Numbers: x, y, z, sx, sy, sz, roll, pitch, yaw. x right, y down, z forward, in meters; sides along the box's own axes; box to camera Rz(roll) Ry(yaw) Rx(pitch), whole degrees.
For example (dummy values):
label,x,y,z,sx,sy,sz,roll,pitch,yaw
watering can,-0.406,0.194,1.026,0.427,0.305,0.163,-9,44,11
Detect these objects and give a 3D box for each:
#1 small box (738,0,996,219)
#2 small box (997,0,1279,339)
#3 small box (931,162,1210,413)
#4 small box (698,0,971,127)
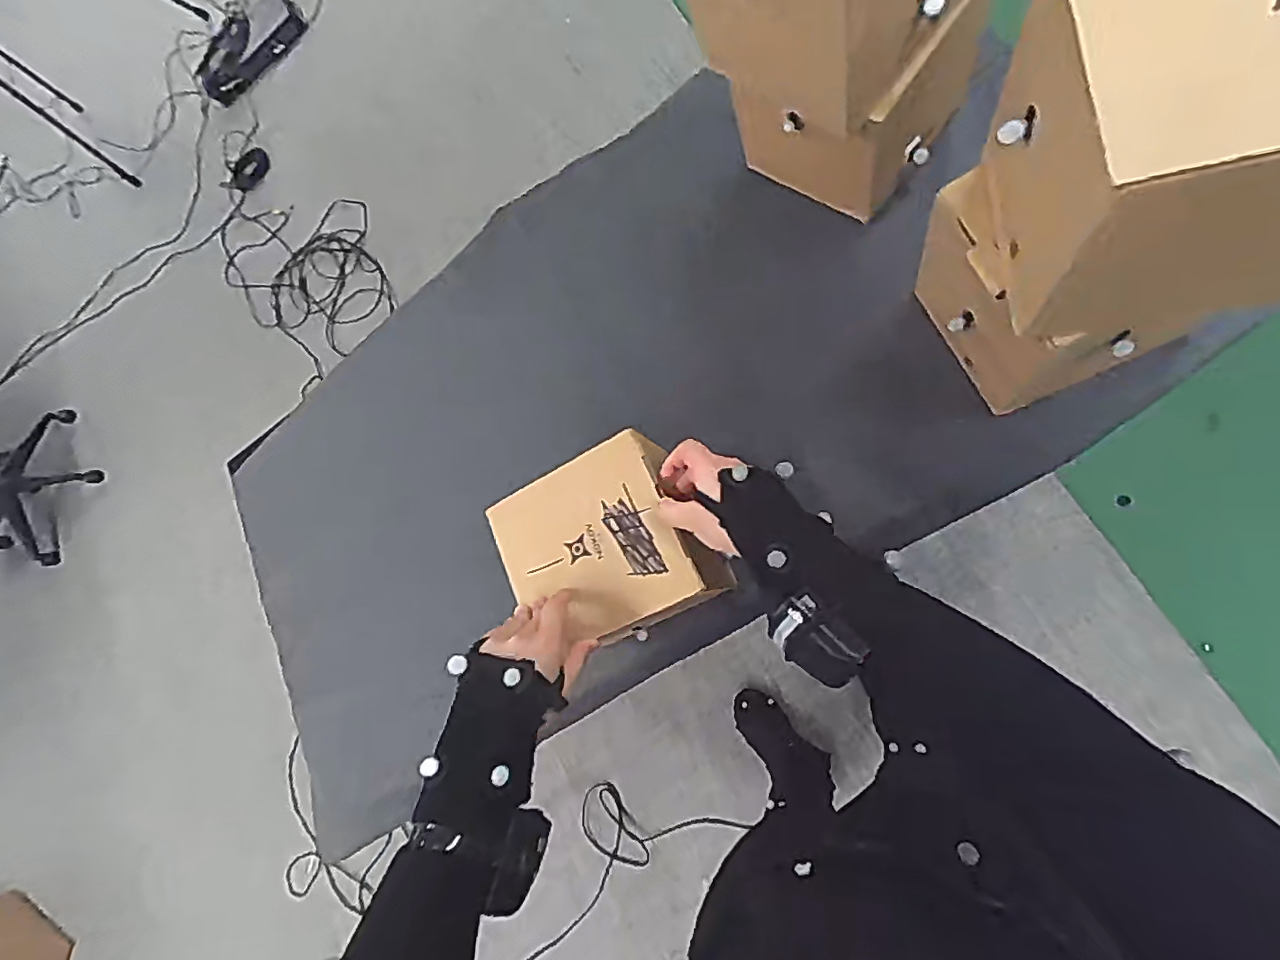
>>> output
label,x,y,z,sx,sy,sz,roll,pitch,yaw
small box,0.220,-0.408,0.556,0.179,0.176,0.168,40,99,19
small box,0.326,-0.197,0.308,0.179,0.176,0.168,-5,77,20
small box,0.375,-0.180,0.464,0.179,0.176,0.168,-27,71,15
small box,0.147,-0.417,0.408,0.179,0.176,0.168,43,101,20
